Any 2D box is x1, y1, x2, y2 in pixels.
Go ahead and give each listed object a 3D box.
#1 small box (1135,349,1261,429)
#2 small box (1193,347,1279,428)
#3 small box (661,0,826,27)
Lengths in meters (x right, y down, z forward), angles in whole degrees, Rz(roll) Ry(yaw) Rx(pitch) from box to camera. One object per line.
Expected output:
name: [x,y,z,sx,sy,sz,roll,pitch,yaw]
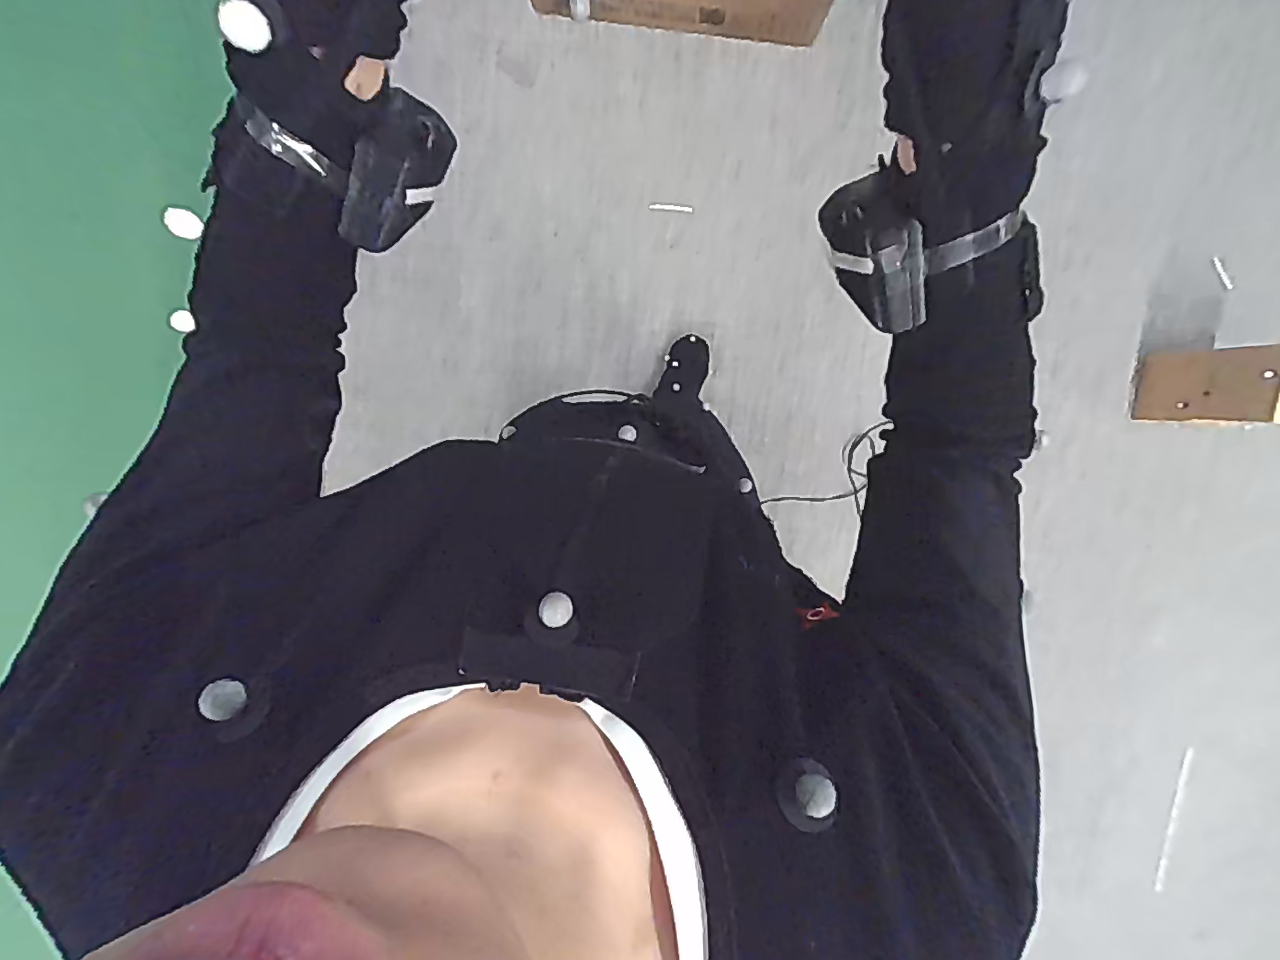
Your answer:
small box: [1.392,-0.223,1.342,0.168,0.176,0.179,5,98,0]
small box: [1.389,-0.199,1.179,0.179,0.176,0.168,5,98,-1]
small box: [0.031,-0.333,0.218,0.168,0.176,0.179,8,103,1]
